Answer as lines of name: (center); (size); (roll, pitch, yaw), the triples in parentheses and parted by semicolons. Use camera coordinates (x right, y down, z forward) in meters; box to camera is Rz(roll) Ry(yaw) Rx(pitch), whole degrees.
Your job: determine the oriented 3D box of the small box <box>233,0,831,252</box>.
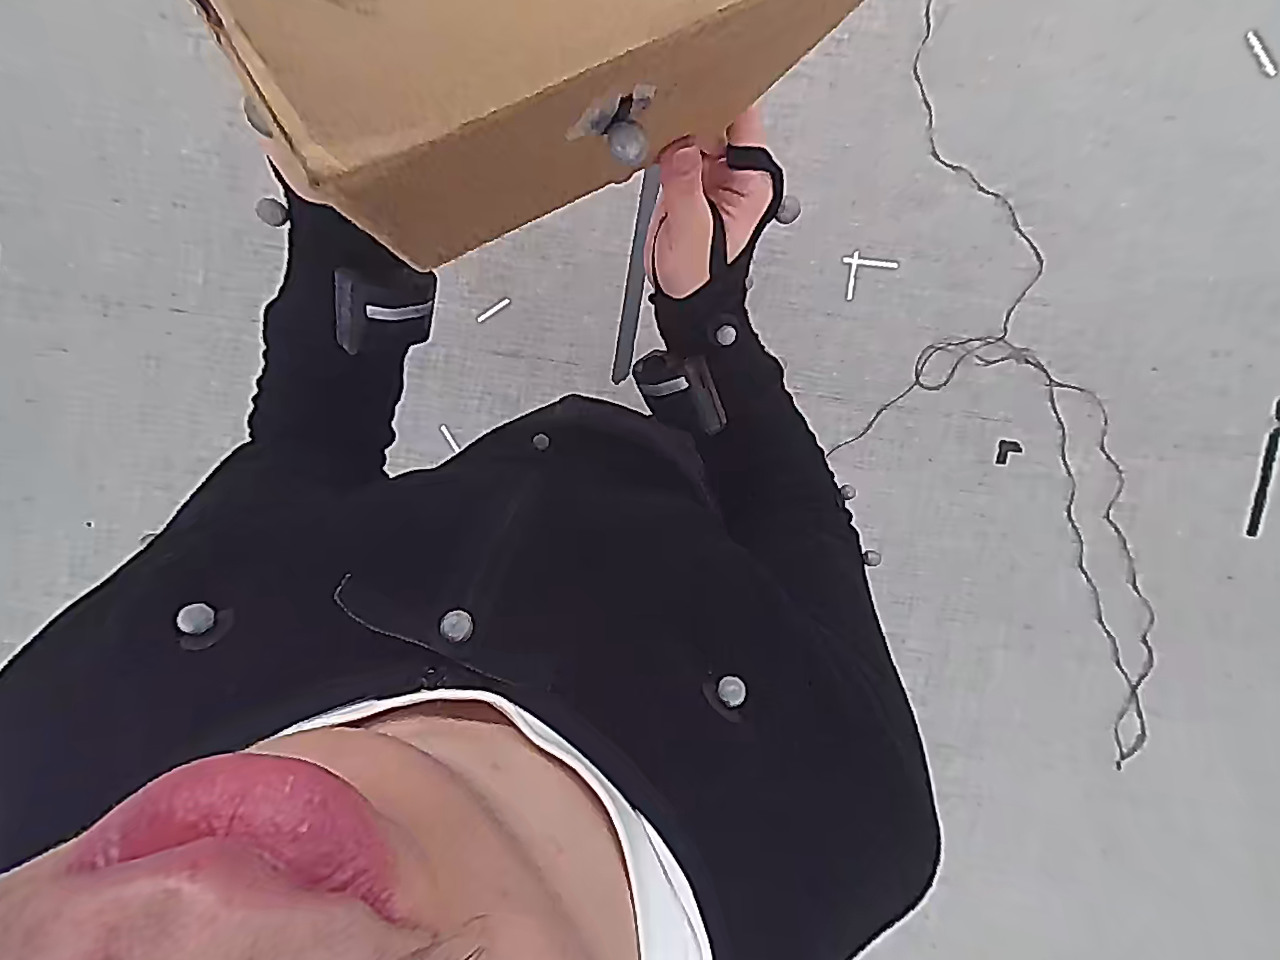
small box: (-0.047, -0.198, 0.185); (0.179, 0.176, 0.168); (-29, 110, -5)
